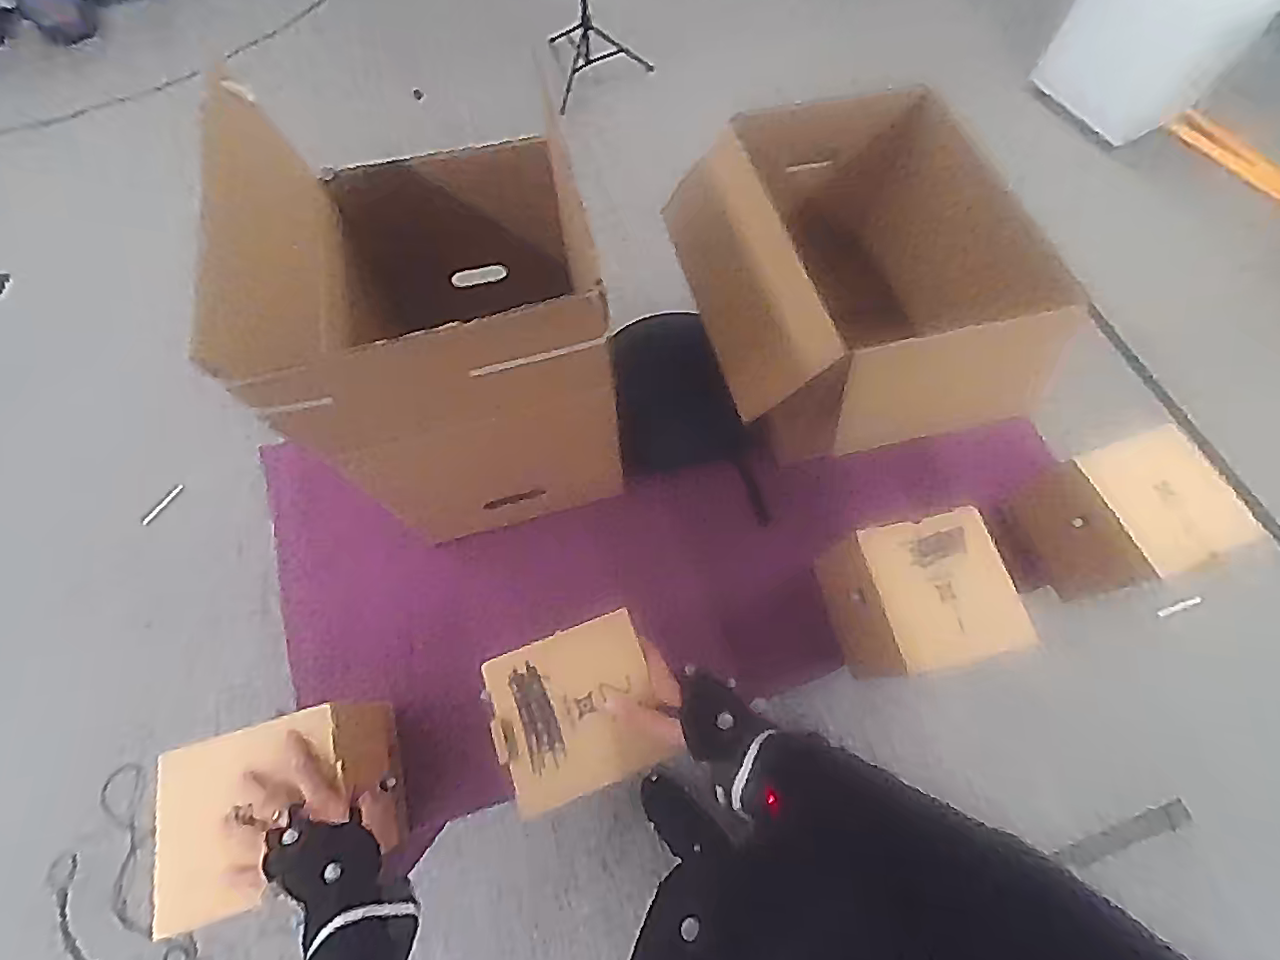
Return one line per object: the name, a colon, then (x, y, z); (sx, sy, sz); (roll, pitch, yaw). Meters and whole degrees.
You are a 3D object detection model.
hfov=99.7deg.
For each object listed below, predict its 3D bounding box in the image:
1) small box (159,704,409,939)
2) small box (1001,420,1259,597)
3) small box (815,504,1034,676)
small box: (-0.389, 0.368, 0.617); (0.179, 0.176, 0.168); (-15, 68, -9)
small box: (0.669, 0.047, 0.769); (0.168, 0.176, 0.179); (-19, 69, -8)
small box: (0.357, 0.153, 0.721); (0.168, 0.176, 0.179); (-12, 70, -6)
